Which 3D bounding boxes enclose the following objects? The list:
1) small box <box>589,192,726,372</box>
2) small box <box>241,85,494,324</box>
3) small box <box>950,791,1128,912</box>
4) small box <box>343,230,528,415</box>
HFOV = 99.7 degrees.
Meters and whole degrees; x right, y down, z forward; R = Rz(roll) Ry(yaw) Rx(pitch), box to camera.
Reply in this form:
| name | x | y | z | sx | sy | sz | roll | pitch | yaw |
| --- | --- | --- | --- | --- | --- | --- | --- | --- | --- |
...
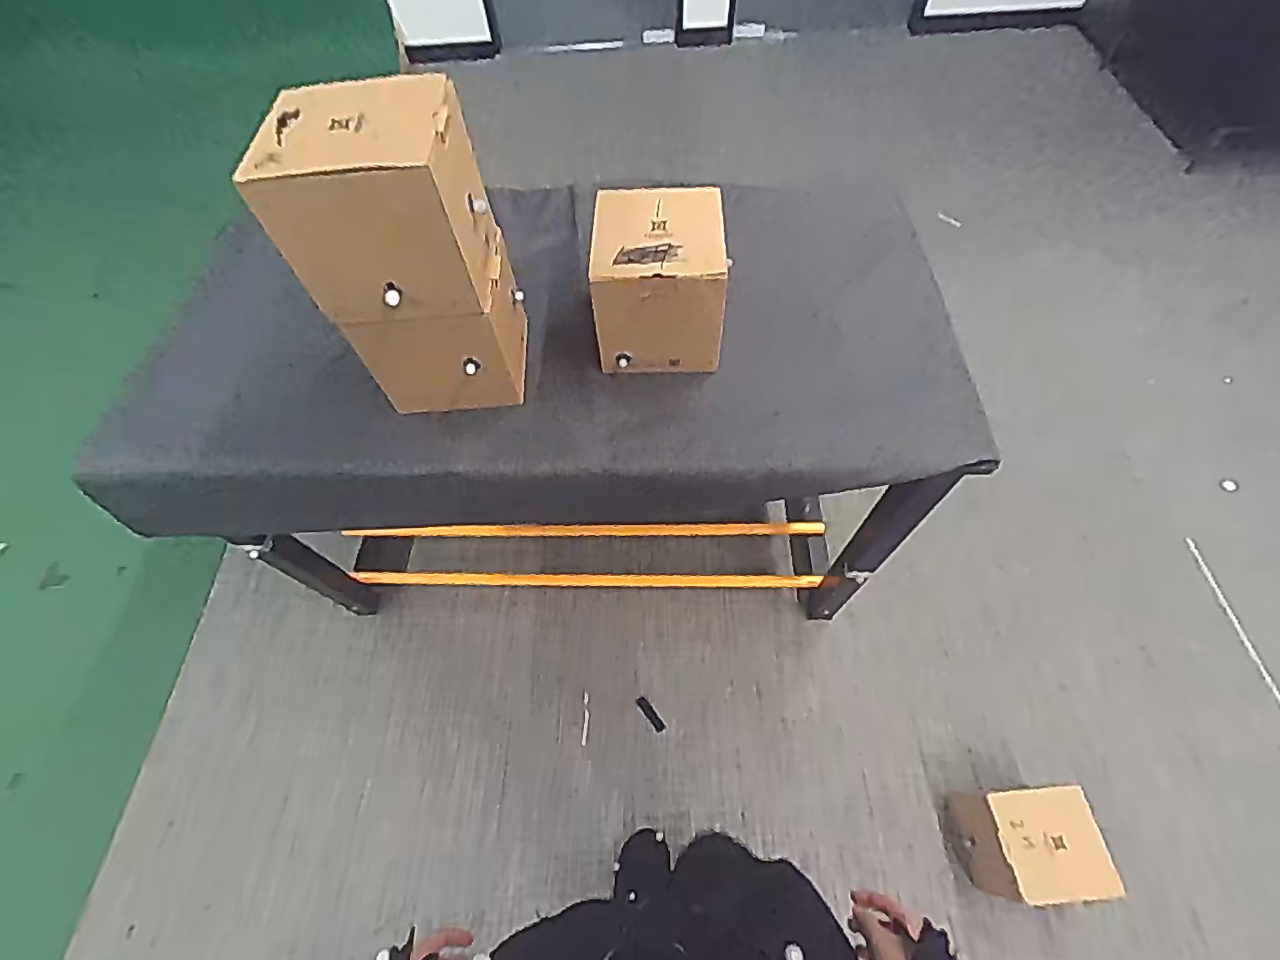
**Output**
| name | x | y | z | sx | sy | sz | roll | pitch | yaw |
| --- | --- | --- | --- | --- | --- | --- | --- | --- | --- |
| small box | 0.028 | -0.264 | 0.743 | 0.168 | 0.176 | 0.179 | 0 | 59 | 3 |
| small box | -0.266 | -0.288 | 0.583 | 0.179 | 0.176 | 0.168 | -4 | 58 | 0 |
| small box | 0.719 | 0.675 | 0.999 | 0.179 | 0.176 | 0.168 | -6 | 59 | 0 |
| small box | -0.254 | -0.204 | 0.724 | 0.179 | 0.176 | 0.168 | -5 | 58 | 1 |
